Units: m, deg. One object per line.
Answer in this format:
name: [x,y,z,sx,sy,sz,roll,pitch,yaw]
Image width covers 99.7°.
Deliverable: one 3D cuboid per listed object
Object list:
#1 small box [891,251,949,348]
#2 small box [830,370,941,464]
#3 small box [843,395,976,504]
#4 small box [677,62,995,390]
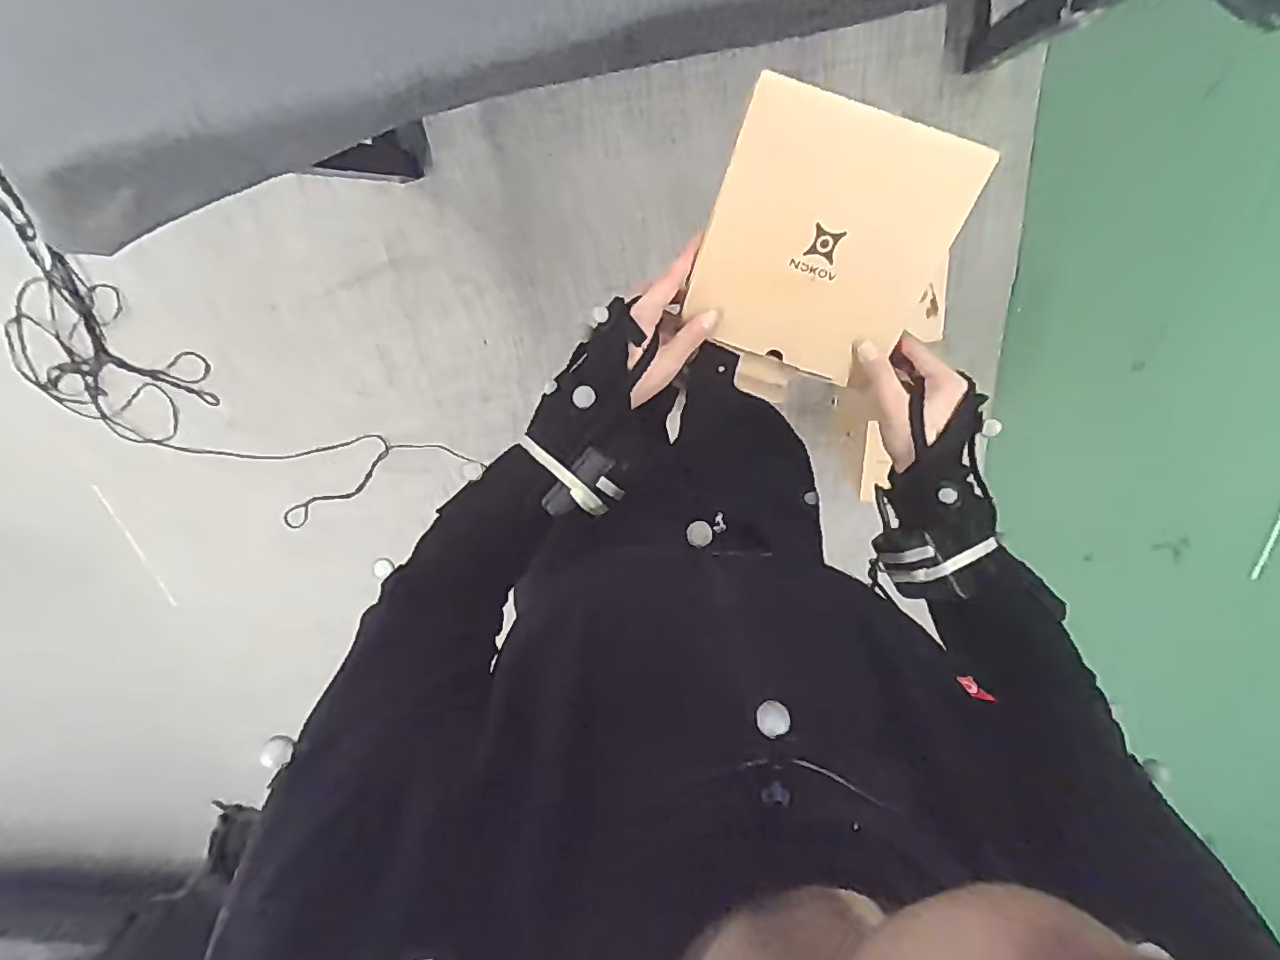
small box: [0.489,-0.361,1.082,0.179,0.176,0.168,-5,114,10]
small box: [0.526,-0.141,1.184,0.179,0.176,0.168,0,115,9]
small box: [0.505,-0.064,1.040,0.179,0.176,0.168,0,114,9]
small box: [0.137,-0.205,0.452,0.168,0.176,0.179,18,120,-1]
